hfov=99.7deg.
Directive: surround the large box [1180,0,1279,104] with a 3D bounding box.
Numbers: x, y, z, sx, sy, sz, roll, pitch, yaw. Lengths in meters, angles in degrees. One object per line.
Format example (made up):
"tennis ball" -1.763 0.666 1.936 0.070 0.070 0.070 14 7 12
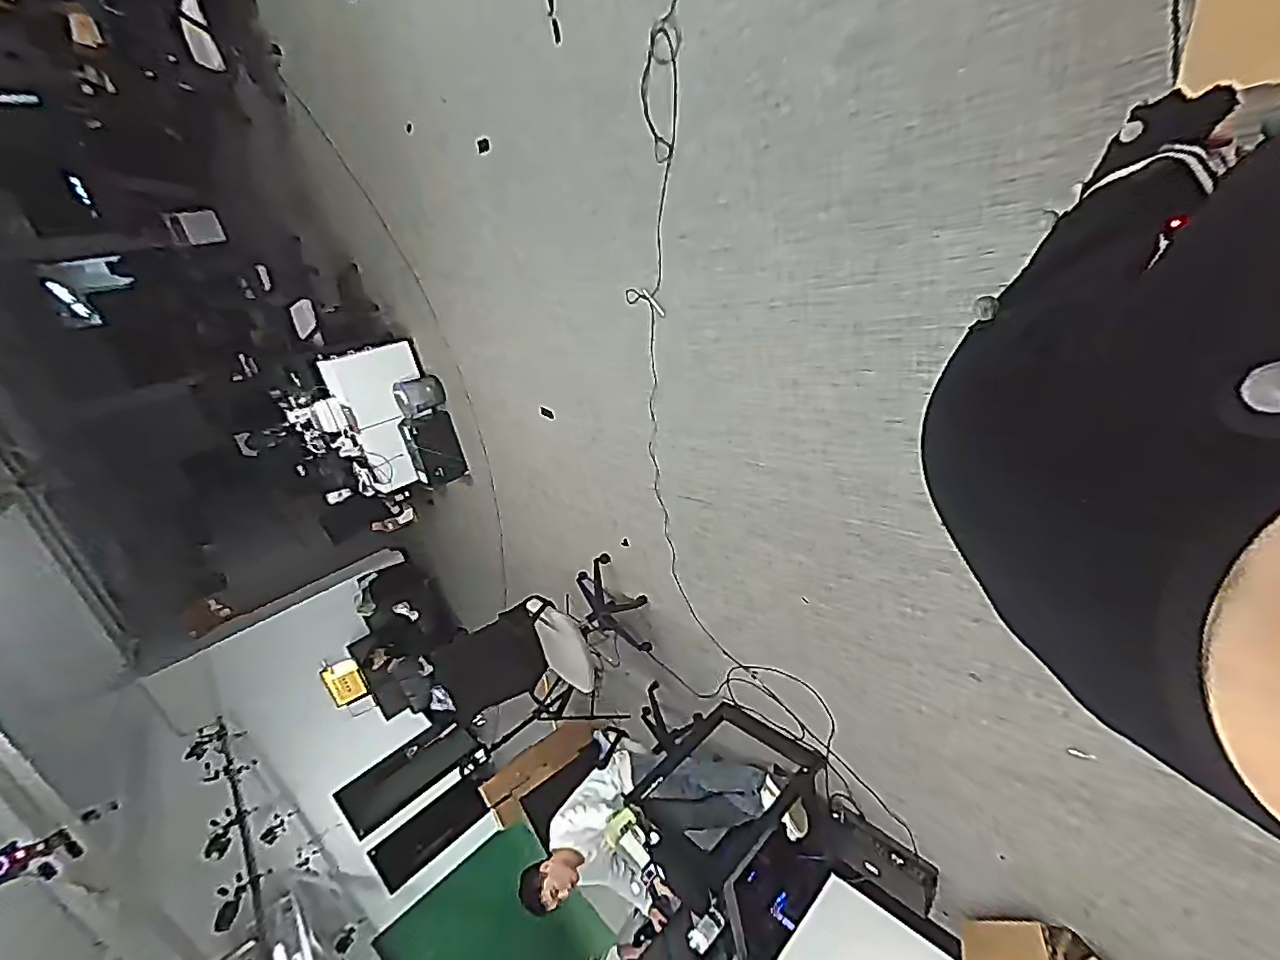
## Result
"large box" 0.978 -0.691 0.651 0.408 0.320 0.320 18 126 44
